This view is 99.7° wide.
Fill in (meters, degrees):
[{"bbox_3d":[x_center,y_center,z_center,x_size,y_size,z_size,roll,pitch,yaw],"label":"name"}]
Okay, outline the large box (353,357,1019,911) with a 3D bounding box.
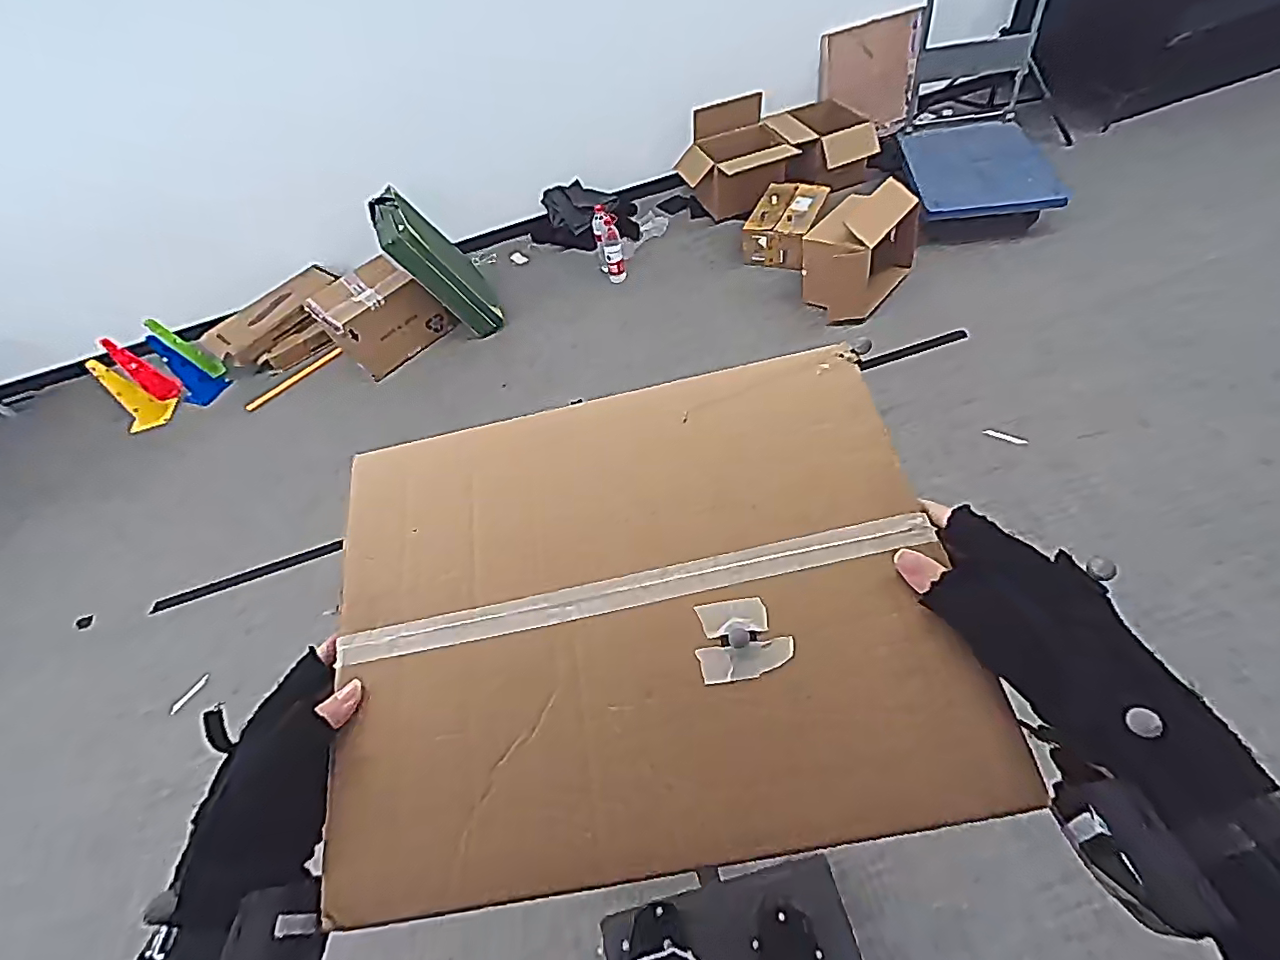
[{"bbox_3d":[0.015,0.141,0.509,0.408,0.320,0.320,-12,64,3],"label":"large box"}]
